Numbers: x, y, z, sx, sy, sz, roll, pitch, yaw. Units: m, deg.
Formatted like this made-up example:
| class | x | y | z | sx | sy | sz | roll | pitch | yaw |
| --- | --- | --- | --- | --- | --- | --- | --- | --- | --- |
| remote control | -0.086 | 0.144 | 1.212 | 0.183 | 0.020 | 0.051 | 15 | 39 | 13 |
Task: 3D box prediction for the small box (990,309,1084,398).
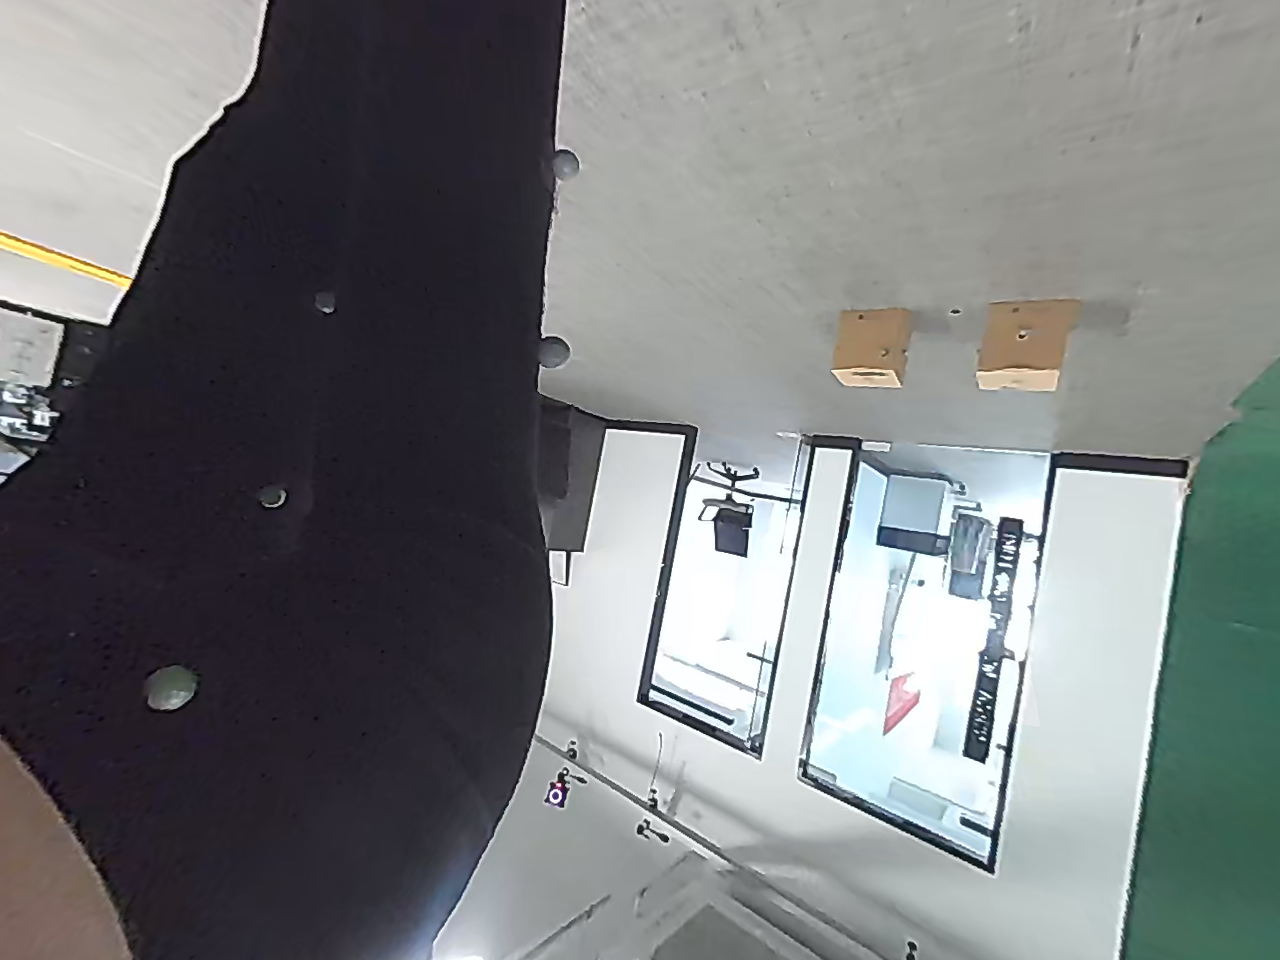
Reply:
| class | x | y | z | sx | sy | sz | roll | pitch | yaw |
| --- | --- | --- | --- | --- | --- | --- | --- | --- | --- |
| small box | 0.951 | -0.302 | 1.301 | 0.168 | 0.176 | 0.179 | 8 | 176 | 36 |
